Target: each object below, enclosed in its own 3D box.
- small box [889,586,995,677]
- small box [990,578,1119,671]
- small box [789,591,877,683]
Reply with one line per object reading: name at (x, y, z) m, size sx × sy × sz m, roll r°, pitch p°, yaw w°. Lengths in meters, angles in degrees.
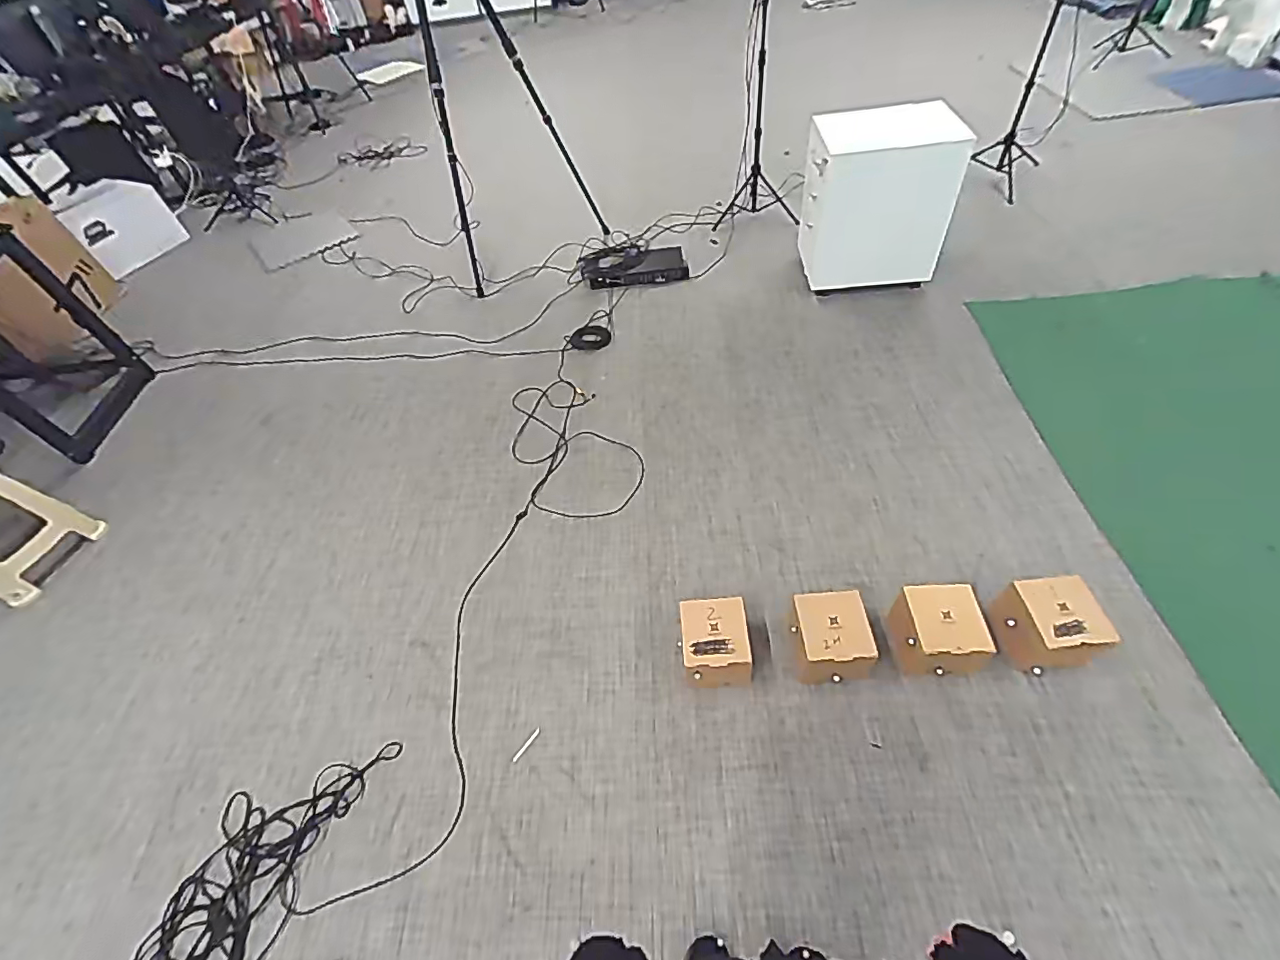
small box at (0.752, 0.386, 1.372) m, size 0.168 × 0.176 × 0.179 m, roll -3°, pitch 52°, yaw 5°
small box at (1.020, 0.366, 1.349) m, size 0.168 × 0.176 × 0.179 m, roll -6°, pitch 51°, yaw 3°
small box at (0.485, 0.405, 1.391) m, size 0.168 × 0.176 × 0.179 m, roll -5°, pitch 52°, yaw 5°
